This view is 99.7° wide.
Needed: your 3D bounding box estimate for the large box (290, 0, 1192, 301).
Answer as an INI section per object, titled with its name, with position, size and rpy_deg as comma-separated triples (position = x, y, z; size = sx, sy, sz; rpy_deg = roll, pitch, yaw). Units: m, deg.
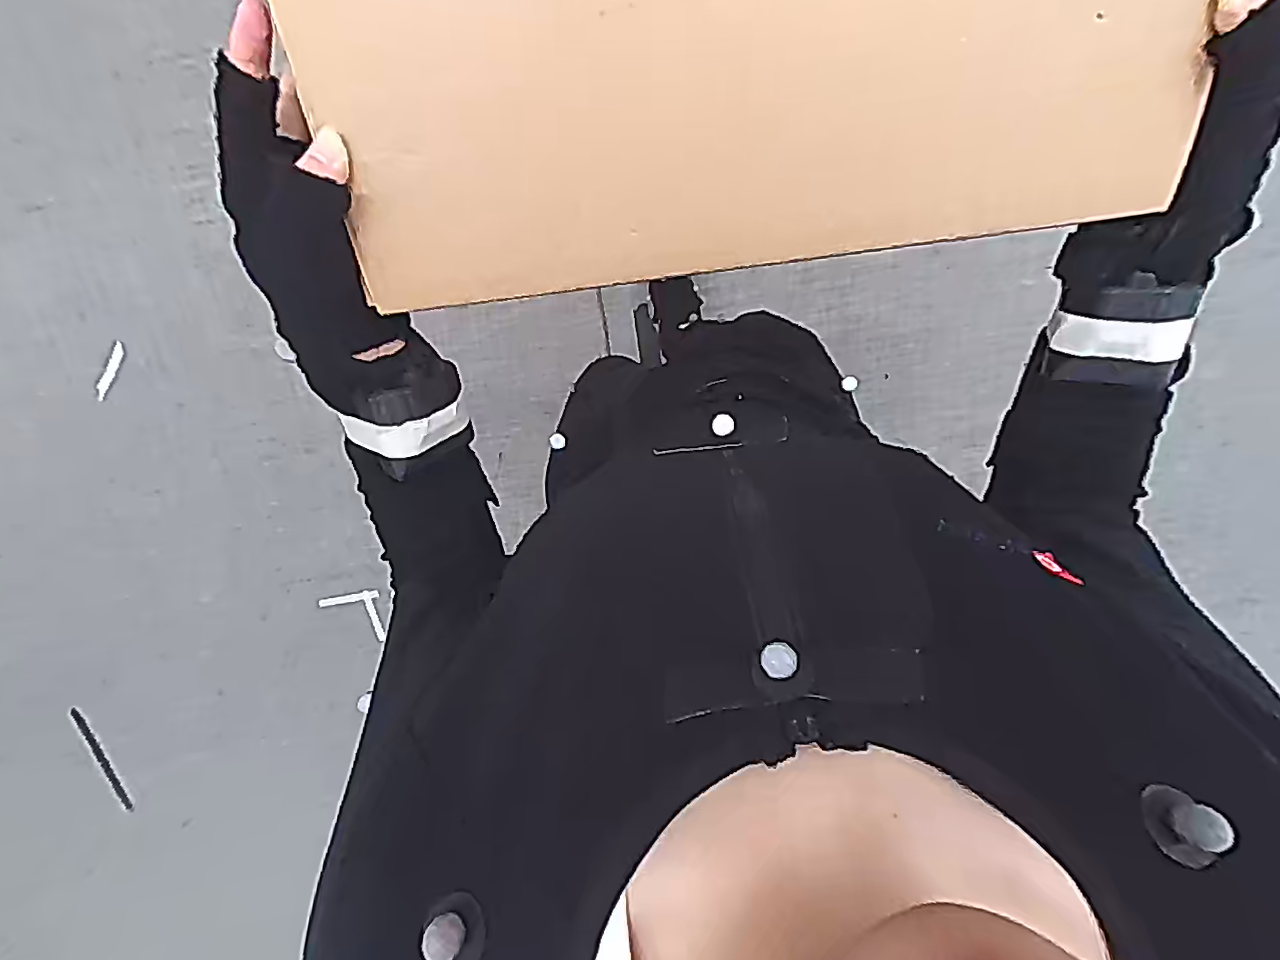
[large box]
position = 0.035, -0.325, 0.348
size = 0.408, 0.320, 0.320
rpy_deg = -7, 119, 2
